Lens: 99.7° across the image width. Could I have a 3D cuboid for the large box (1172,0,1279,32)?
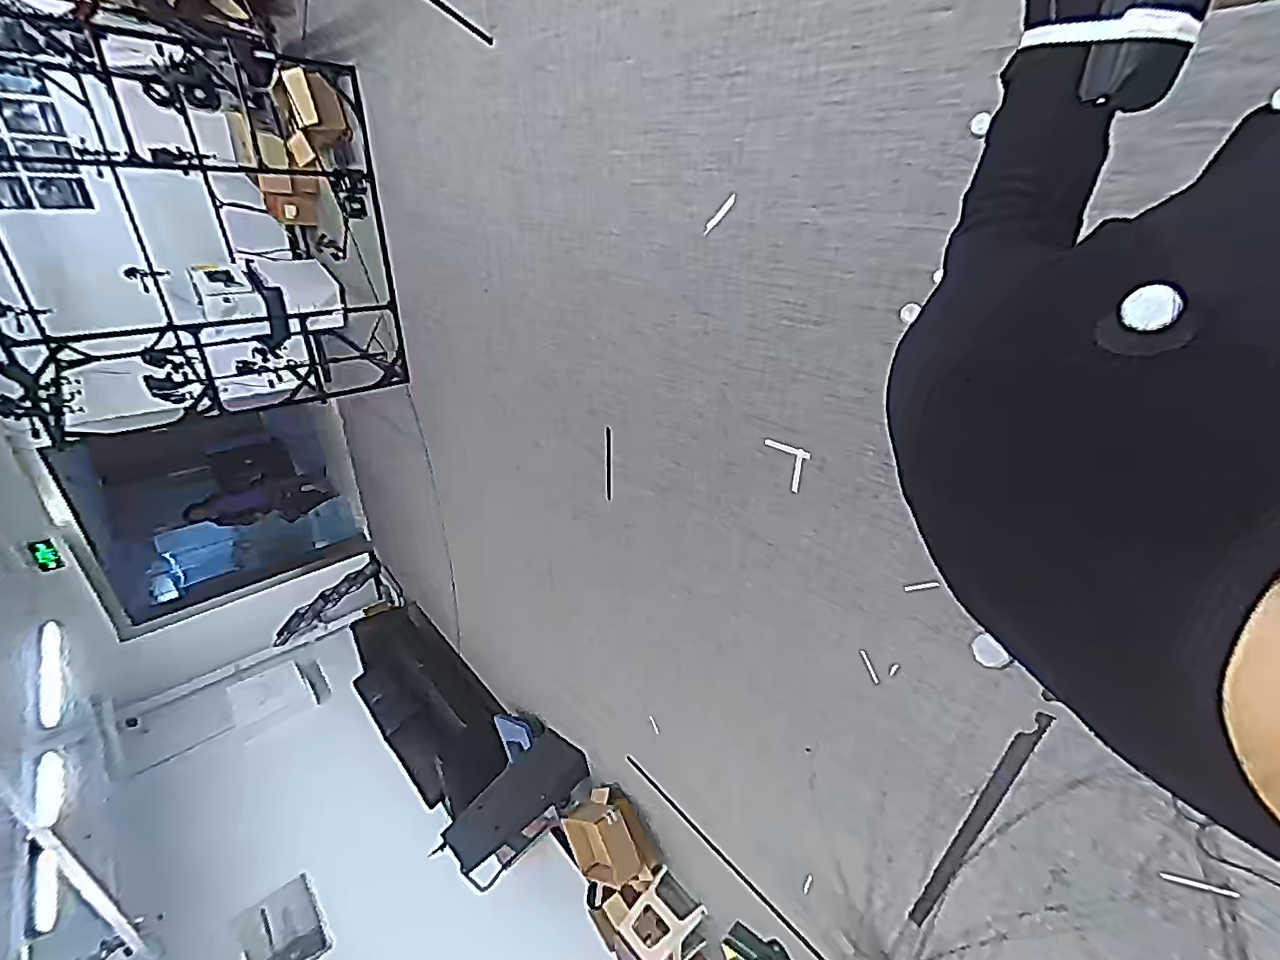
[{"bbox_3d":[0.536,-0.433,0.216,0.408,0.320,0.320,21,130,39],"label":"large box"}]
